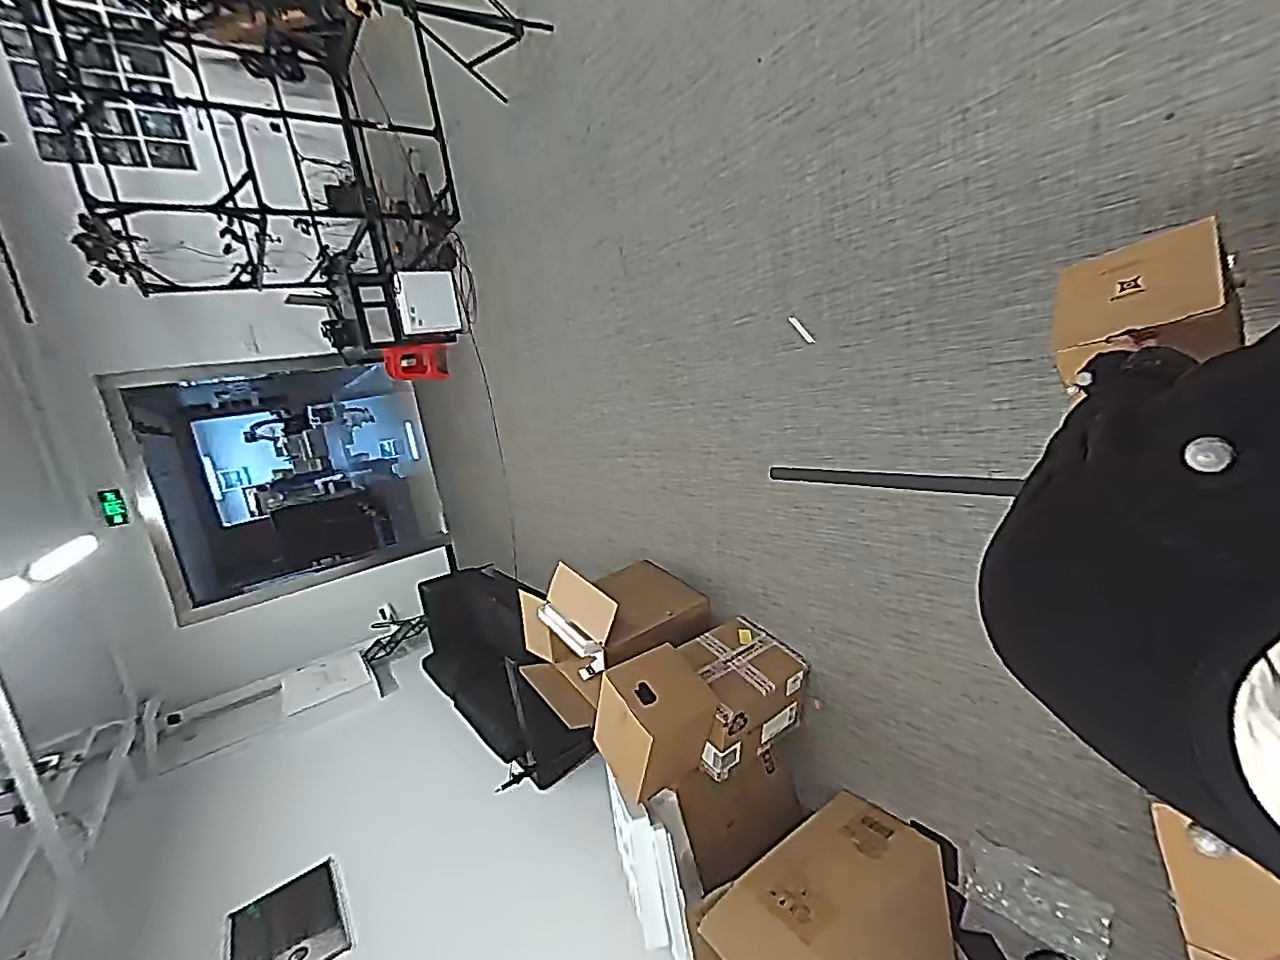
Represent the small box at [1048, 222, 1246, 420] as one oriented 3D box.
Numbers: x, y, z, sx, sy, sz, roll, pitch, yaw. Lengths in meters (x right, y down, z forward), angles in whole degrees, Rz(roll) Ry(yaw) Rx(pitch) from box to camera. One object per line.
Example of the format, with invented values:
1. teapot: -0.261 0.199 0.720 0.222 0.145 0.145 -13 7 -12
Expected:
1. small box: 0.690 -0.200 0.741 0.176 0.179 0.168 40 151 -27
